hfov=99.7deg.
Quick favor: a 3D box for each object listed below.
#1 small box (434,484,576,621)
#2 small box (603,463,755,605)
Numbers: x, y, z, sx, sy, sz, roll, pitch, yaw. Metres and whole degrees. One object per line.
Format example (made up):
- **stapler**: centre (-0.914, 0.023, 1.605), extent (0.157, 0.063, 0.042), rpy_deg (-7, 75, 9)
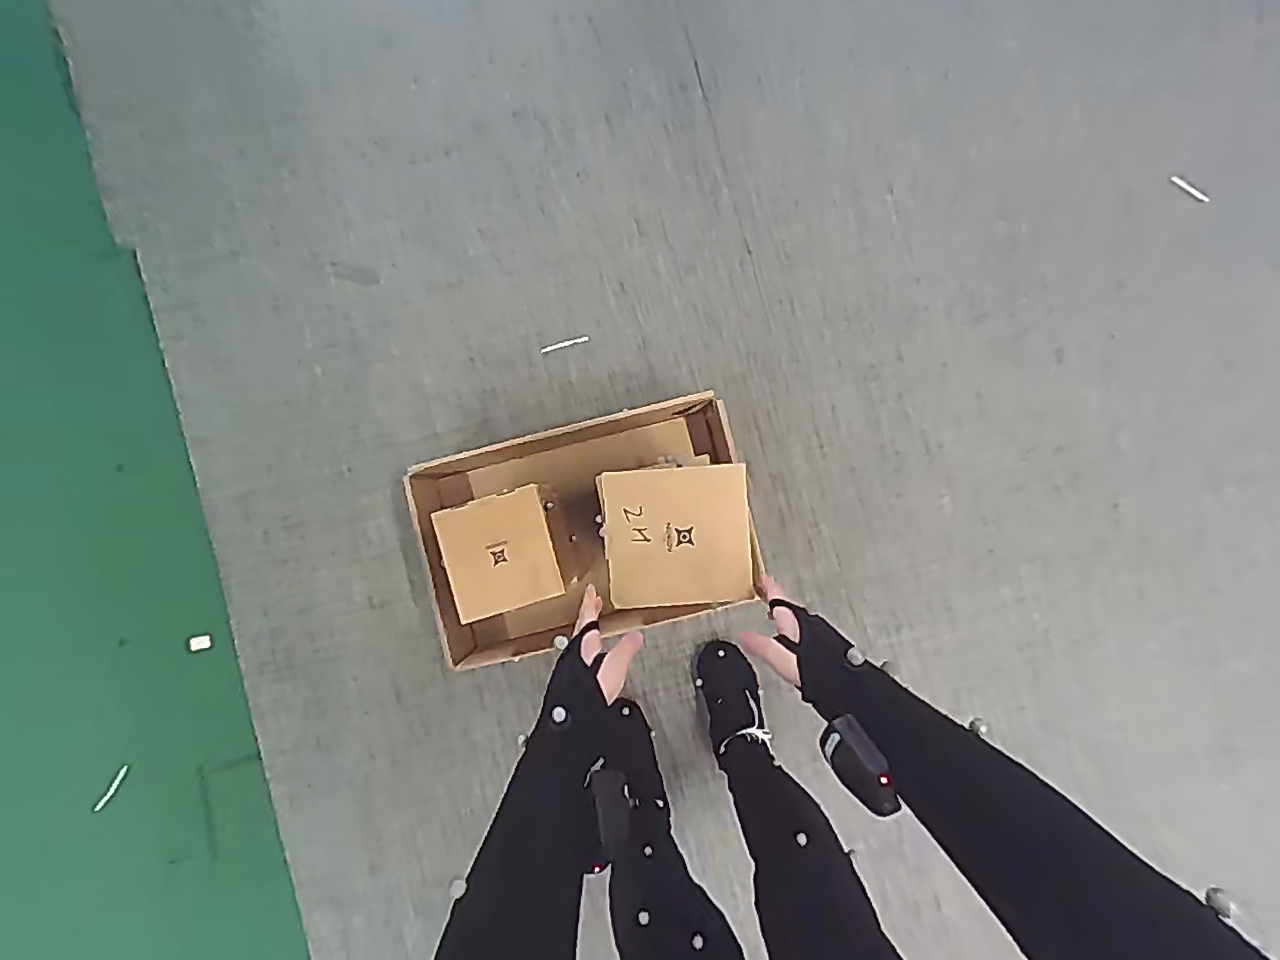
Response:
- **small box**: centre (-0.212, 0.112, 0.899), extent (0.168, 0.176, 0.179), rpy_deg (-17, 88, -1)
- **small box**: centre (0.047, 0.064, 0.725), extent (0.179, 0.176, 0.168), rpy_deg (-4, 89, 2)
